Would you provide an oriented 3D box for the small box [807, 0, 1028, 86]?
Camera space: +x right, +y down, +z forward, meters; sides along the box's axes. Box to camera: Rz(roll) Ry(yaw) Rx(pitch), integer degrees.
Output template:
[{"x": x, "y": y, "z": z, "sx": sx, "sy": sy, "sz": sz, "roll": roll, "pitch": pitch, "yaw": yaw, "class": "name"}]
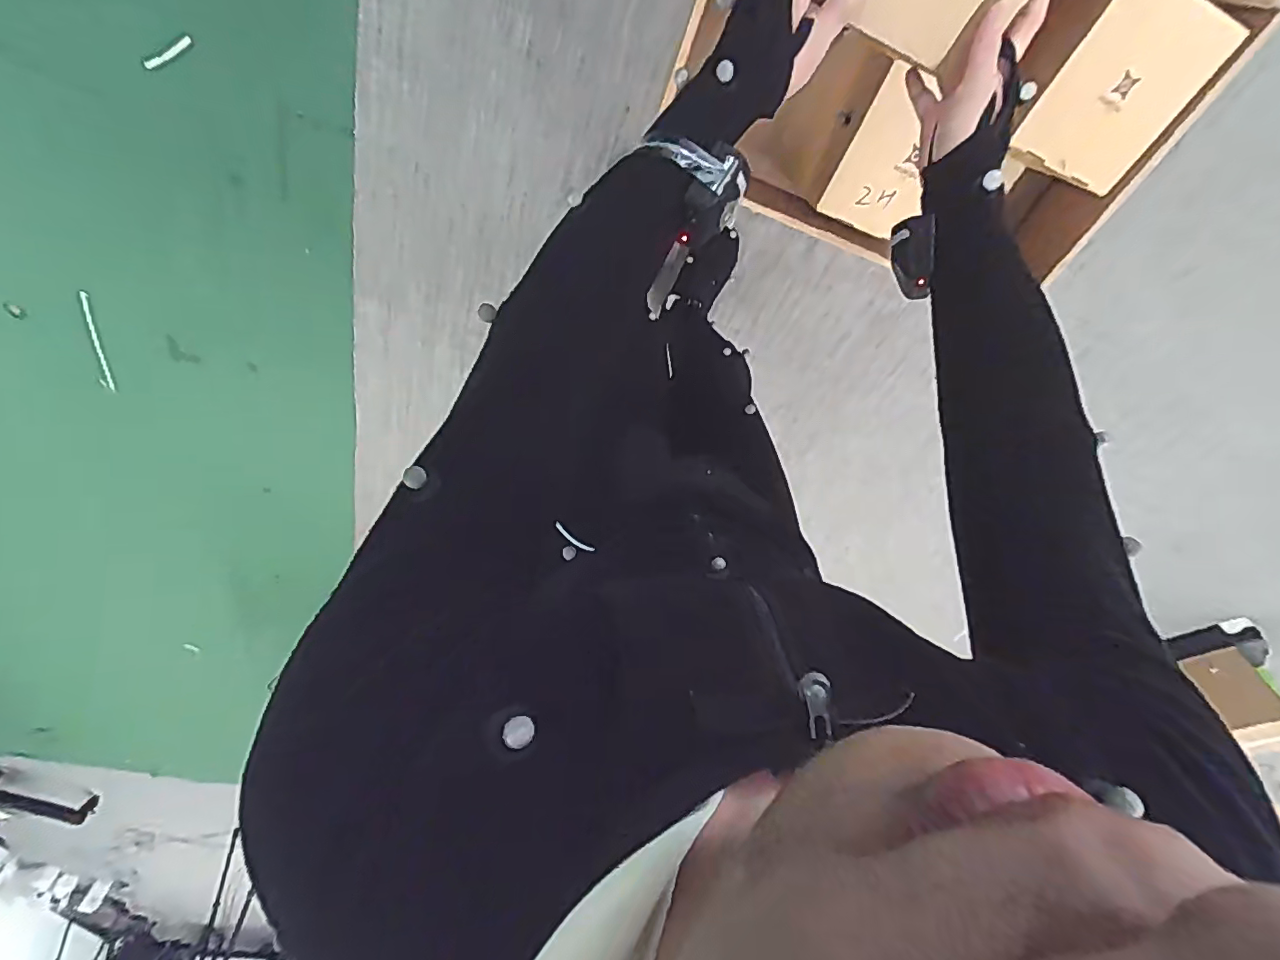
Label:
[{"x": 0.233, "y": -0.472, "z": 0.446, "sx": 0.179, "sy": 0.176, "sz": 0.168, "roll": 13, "pitch": 134, "yaw": -18, "class": "small box"}]
